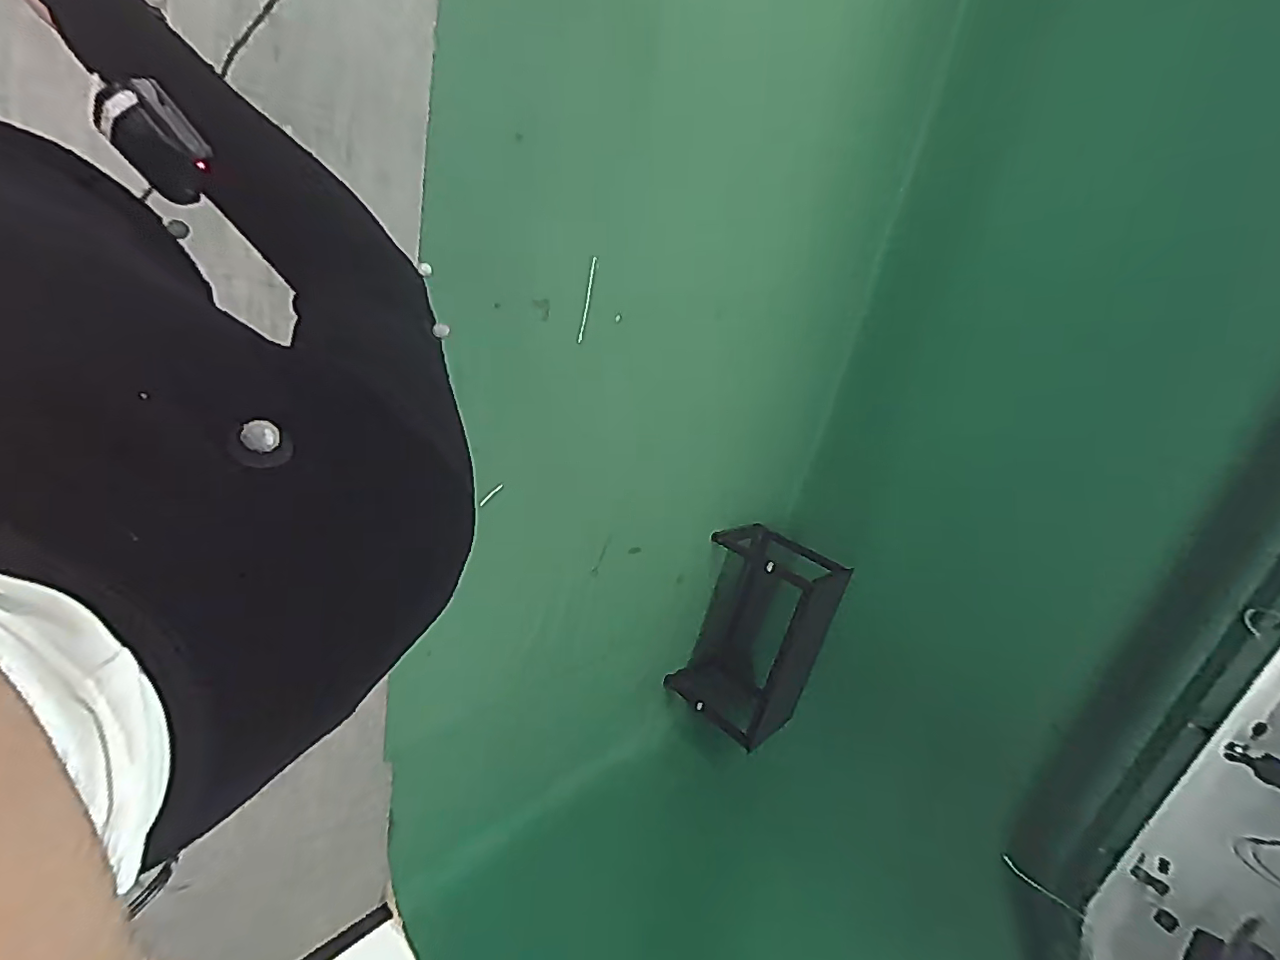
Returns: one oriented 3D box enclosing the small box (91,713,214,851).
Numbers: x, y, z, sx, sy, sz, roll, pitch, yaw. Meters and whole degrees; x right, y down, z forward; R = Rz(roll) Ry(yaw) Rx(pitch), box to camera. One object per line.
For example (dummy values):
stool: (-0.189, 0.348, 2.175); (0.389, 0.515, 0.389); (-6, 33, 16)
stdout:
small box: (-1.072, 0.648, 1.188); (0.179, 0.176, 0.168); (1, 112, -49)

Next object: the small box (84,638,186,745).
small box: (-1.301, 0.534, 1.393); (0.179, 0.176, 0.168); (-2, 115, -48)
